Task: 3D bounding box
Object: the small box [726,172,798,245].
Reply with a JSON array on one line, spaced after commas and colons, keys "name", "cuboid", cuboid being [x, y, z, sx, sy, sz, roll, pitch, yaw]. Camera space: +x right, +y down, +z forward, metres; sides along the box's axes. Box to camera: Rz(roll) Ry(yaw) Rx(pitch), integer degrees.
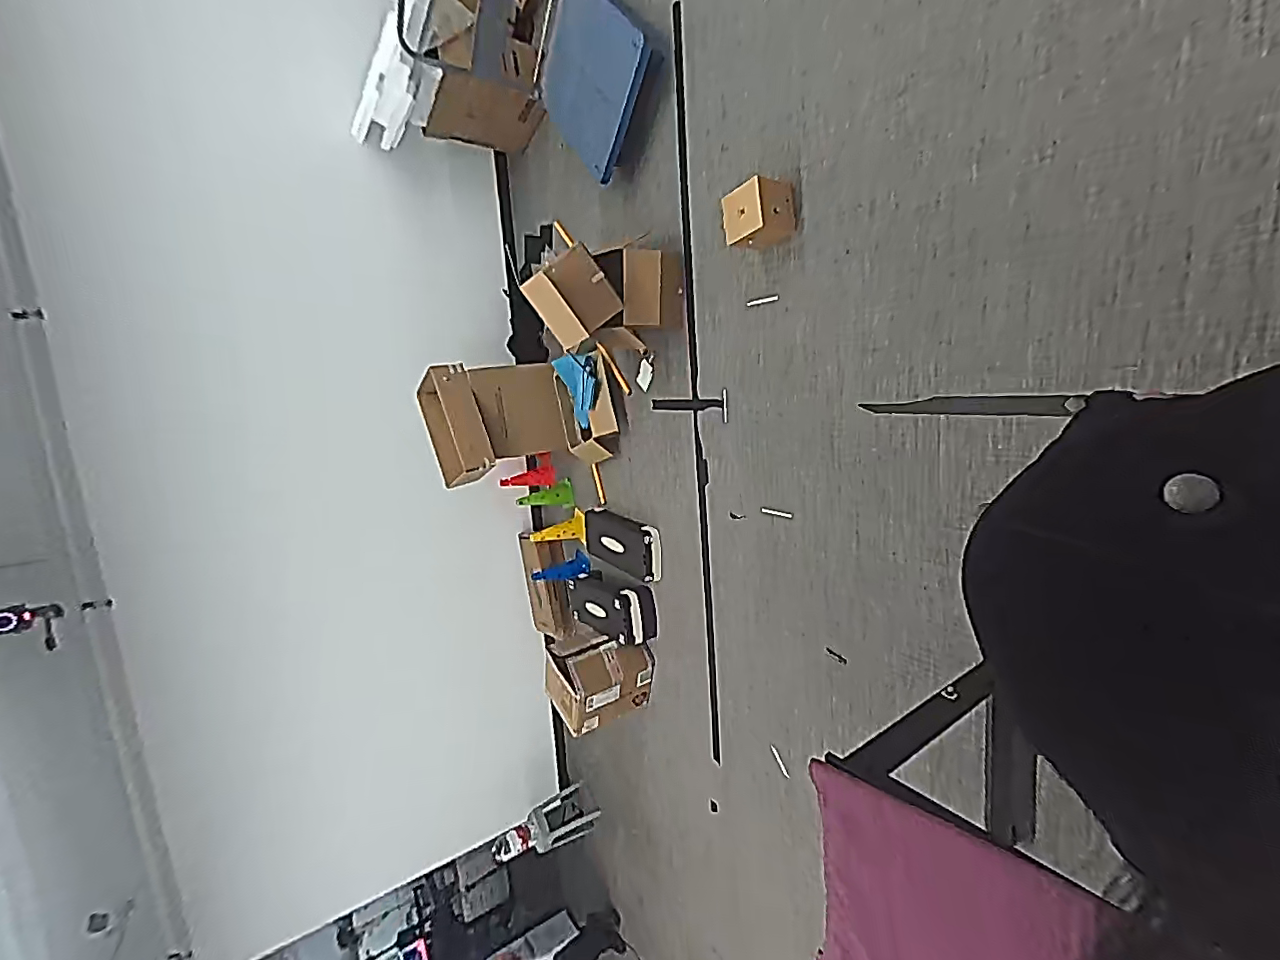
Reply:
[{"name": "small box", "cuboid": [0.420, -0.919, 1.844, 0.179, 0.176, 0.168, -2, 97, 58]}]
